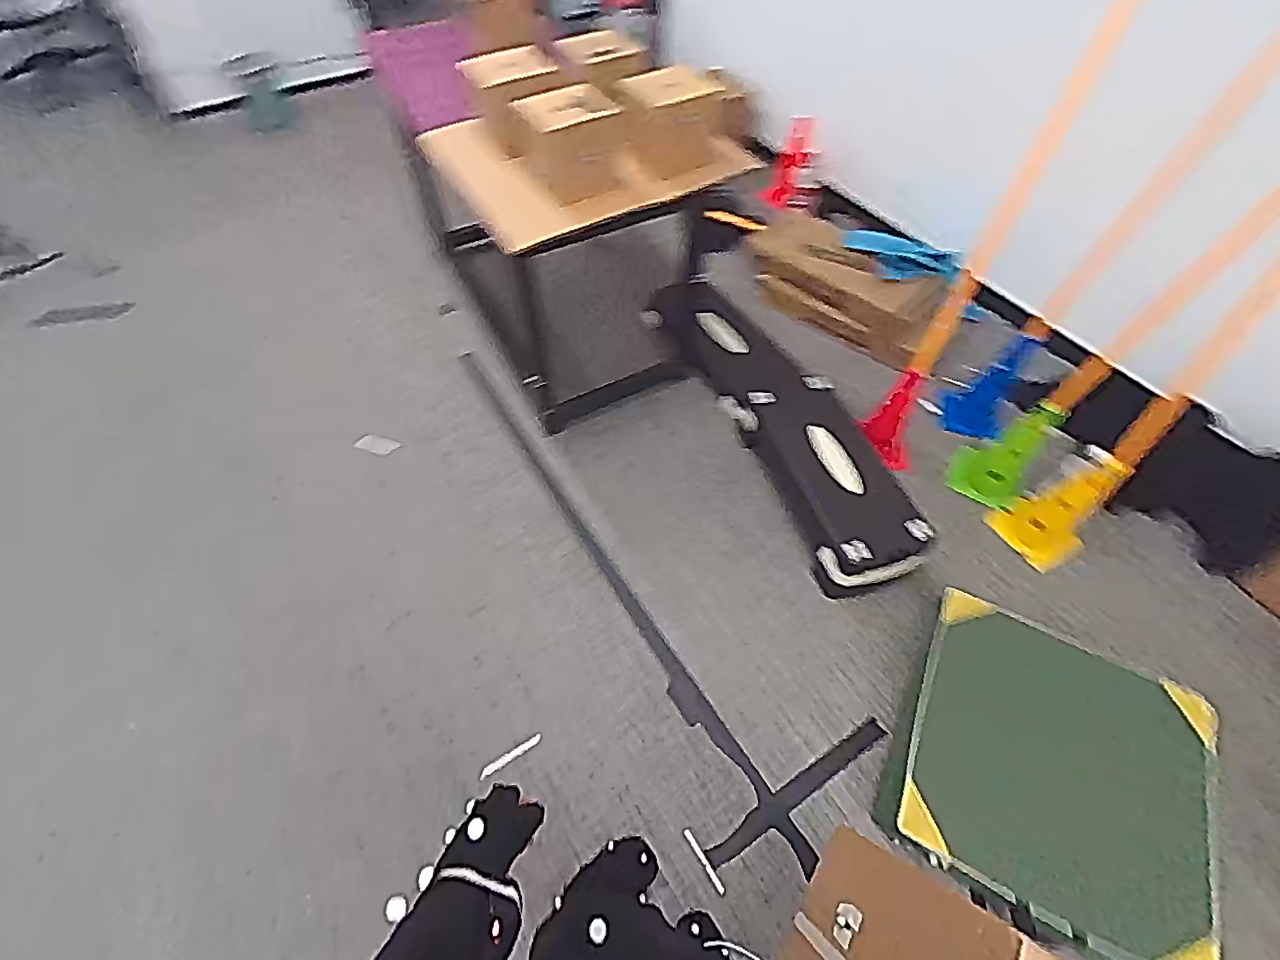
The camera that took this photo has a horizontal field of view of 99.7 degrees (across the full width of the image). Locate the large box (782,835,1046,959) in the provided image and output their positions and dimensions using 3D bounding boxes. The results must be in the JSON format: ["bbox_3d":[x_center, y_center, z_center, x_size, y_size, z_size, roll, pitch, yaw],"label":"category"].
[{"bbox_3d":[0.407,0.735,0.673,0.320,0.408,0.320,34,71,6],"label":"large box"}]
